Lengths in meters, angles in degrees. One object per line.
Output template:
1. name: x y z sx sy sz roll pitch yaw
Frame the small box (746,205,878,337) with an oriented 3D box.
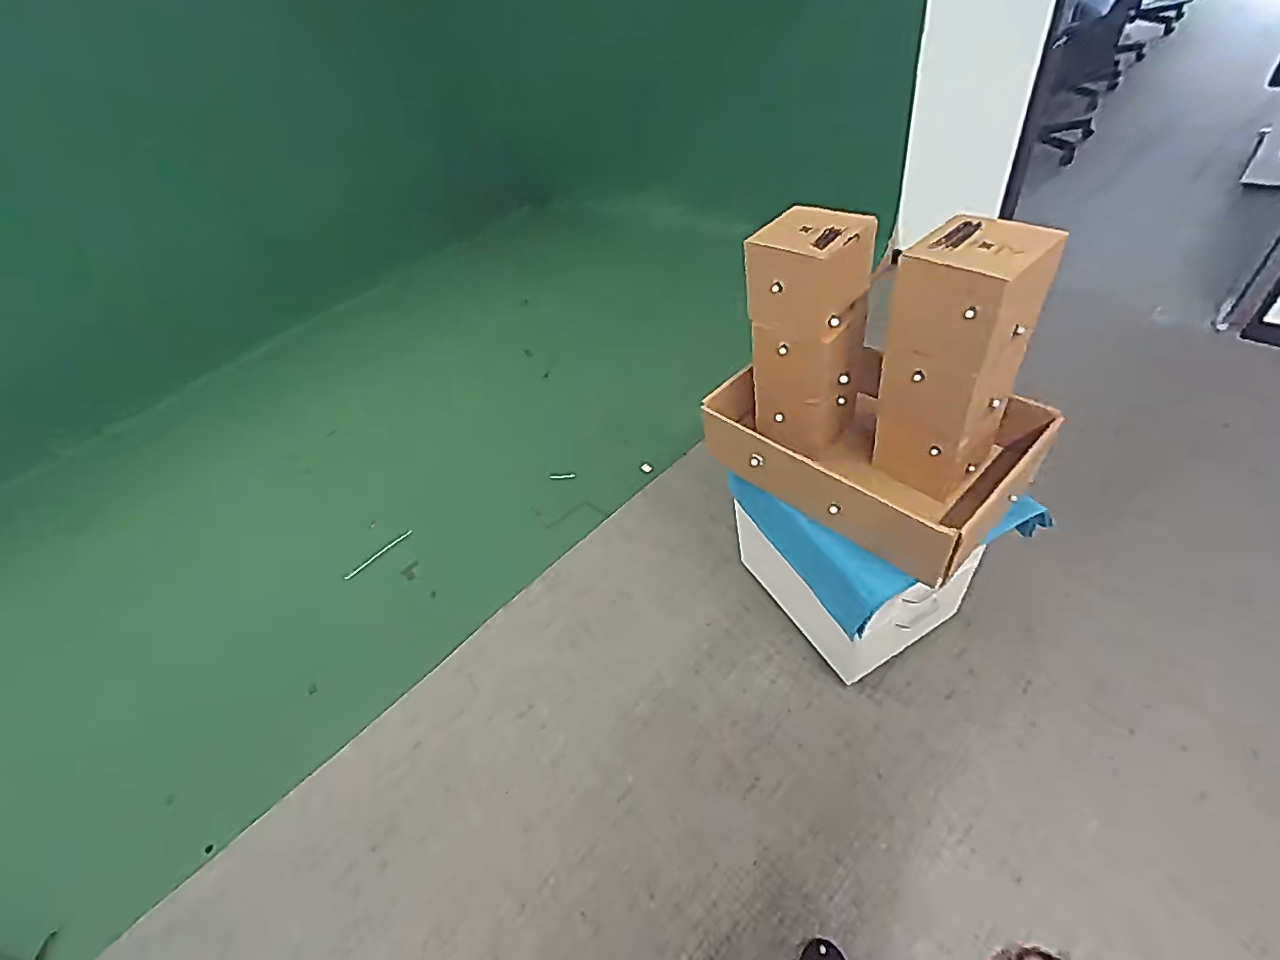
1. small box: 0.328 -0.400 1.045 0.168 0.176 0.179 -40 50 -21

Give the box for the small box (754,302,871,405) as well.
1. small box: 0.362 -0.286 1.159 0.179 0.176 0.168 31 62 33

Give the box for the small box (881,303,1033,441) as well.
1. small box: 0.583 -0.202 1.020 0.168 0.176 0.179 -37 49 -18
